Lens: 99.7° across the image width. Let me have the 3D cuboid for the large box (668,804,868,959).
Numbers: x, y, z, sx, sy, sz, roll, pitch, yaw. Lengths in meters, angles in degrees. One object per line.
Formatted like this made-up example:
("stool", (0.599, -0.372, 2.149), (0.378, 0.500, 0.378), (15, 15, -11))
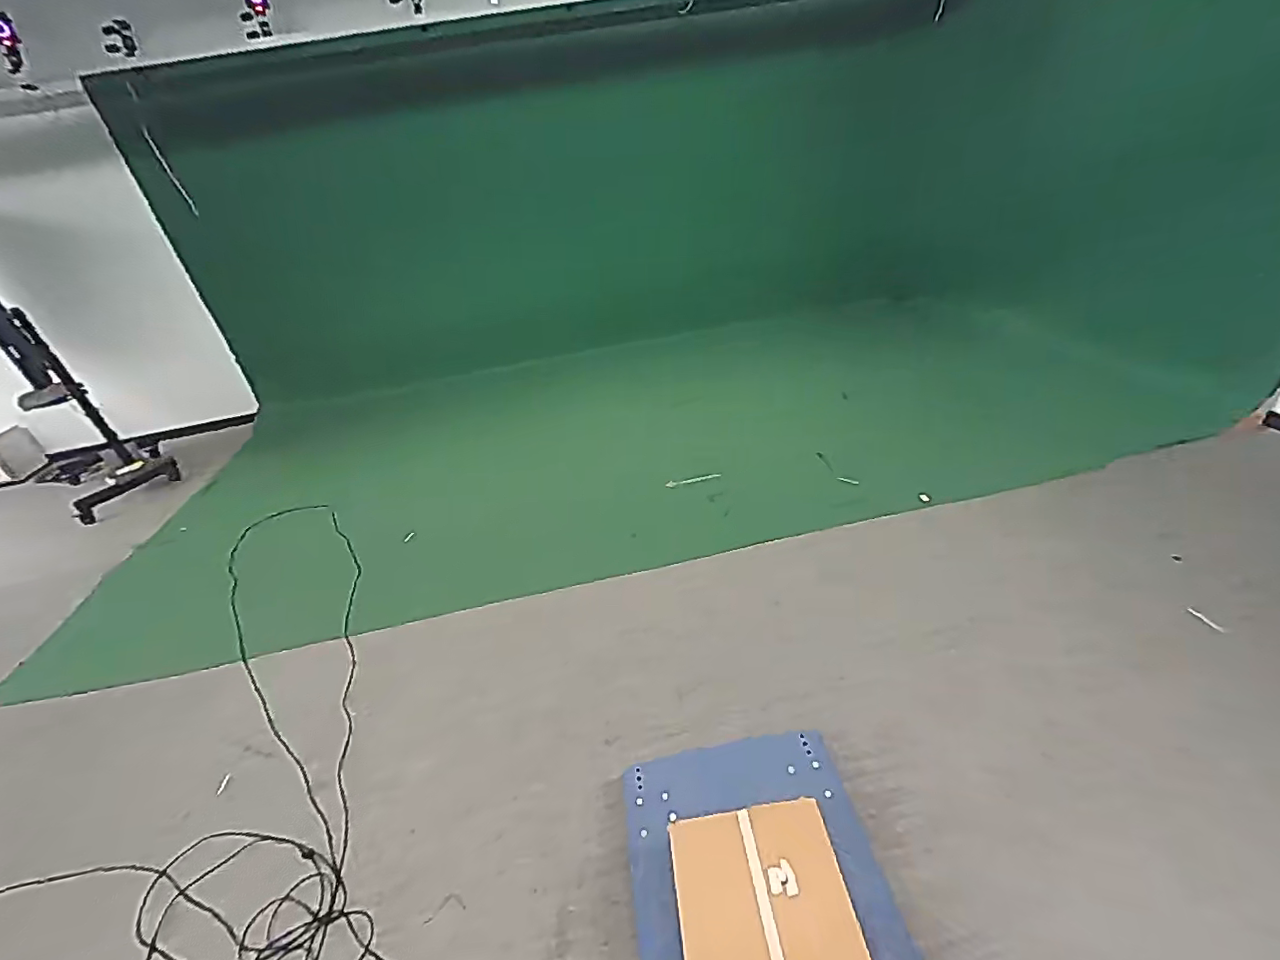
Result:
("large box", (0.250, 0.929, 1.036), (0.320, 0.320, 0.408), (-9, 31, 0))
